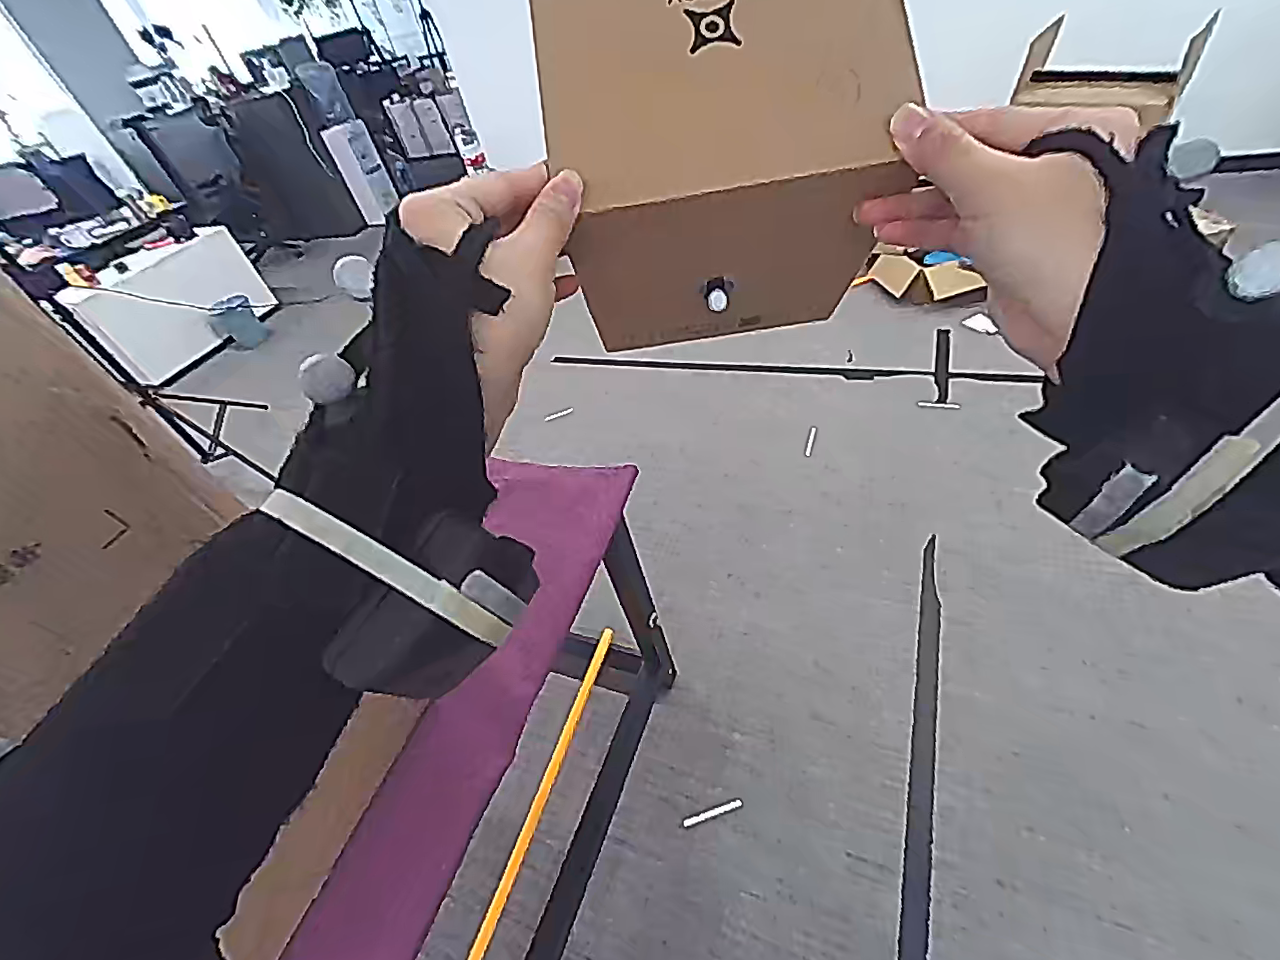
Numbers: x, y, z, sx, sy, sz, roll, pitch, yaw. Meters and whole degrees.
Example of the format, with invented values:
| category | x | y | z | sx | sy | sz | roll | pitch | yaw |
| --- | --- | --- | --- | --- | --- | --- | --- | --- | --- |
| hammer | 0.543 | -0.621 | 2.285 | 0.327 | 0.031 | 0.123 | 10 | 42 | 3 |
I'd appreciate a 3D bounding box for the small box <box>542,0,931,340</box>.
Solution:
| category | x | y | z | sx | sy | sz | roll | pitch | yaw |
| --- | --- | --- | --- | --- | --- | --- | --- | --- | --- |
| small box | 0.043 | -0.198 | 0.328 | 0.168 | 0.176 | 0.179 | -7 | 82 | 3 |
